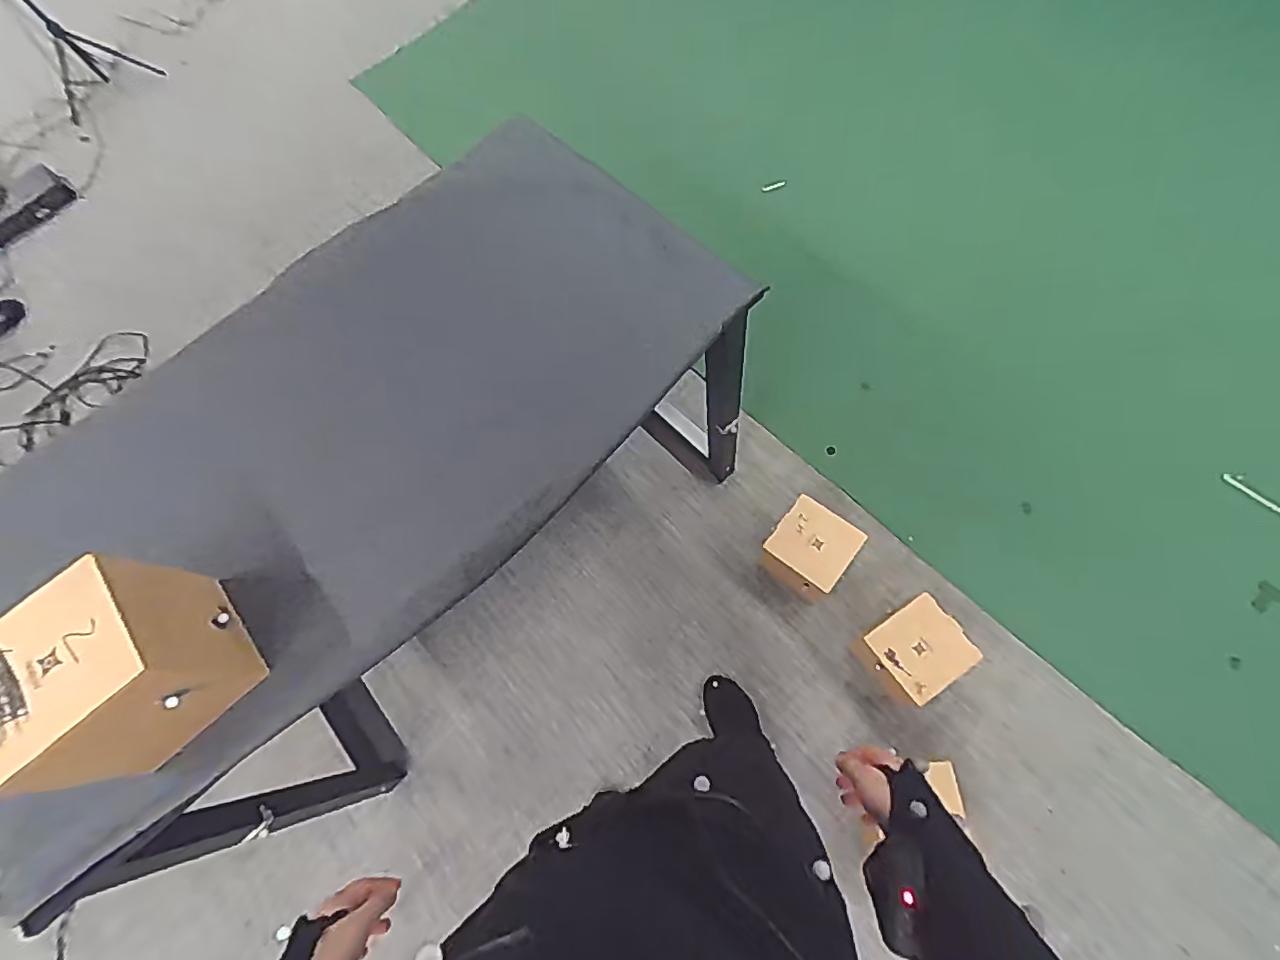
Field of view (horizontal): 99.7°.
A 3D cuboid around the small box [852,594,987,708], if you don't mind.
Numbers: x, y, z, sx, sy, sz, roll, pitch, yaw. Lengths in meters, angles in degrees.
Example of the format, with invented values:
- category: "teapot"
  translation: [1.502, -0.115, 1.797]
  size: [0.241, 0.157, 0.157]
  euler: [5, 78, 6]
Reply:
- category: "small box"
  translation: [0.598, 0.373, 1.186]
  size: [0.179, 0.176, 0.168]
  euler: [-34, 70, -5]

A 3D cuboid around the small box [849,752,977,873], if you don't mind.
- category: "small box"
  translation: [0.537, 0.660, 1.089]
  size: [0.168, 0.176, 0.179]
  euler: [-7, 68, 5]

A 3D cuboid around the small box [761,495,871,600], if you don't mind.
- category: "small box"
  translation: [0.410, 0.168, 1.289]
  size: [0.179, 0.176, 0.168]
  euler: [36, 78, 18]
